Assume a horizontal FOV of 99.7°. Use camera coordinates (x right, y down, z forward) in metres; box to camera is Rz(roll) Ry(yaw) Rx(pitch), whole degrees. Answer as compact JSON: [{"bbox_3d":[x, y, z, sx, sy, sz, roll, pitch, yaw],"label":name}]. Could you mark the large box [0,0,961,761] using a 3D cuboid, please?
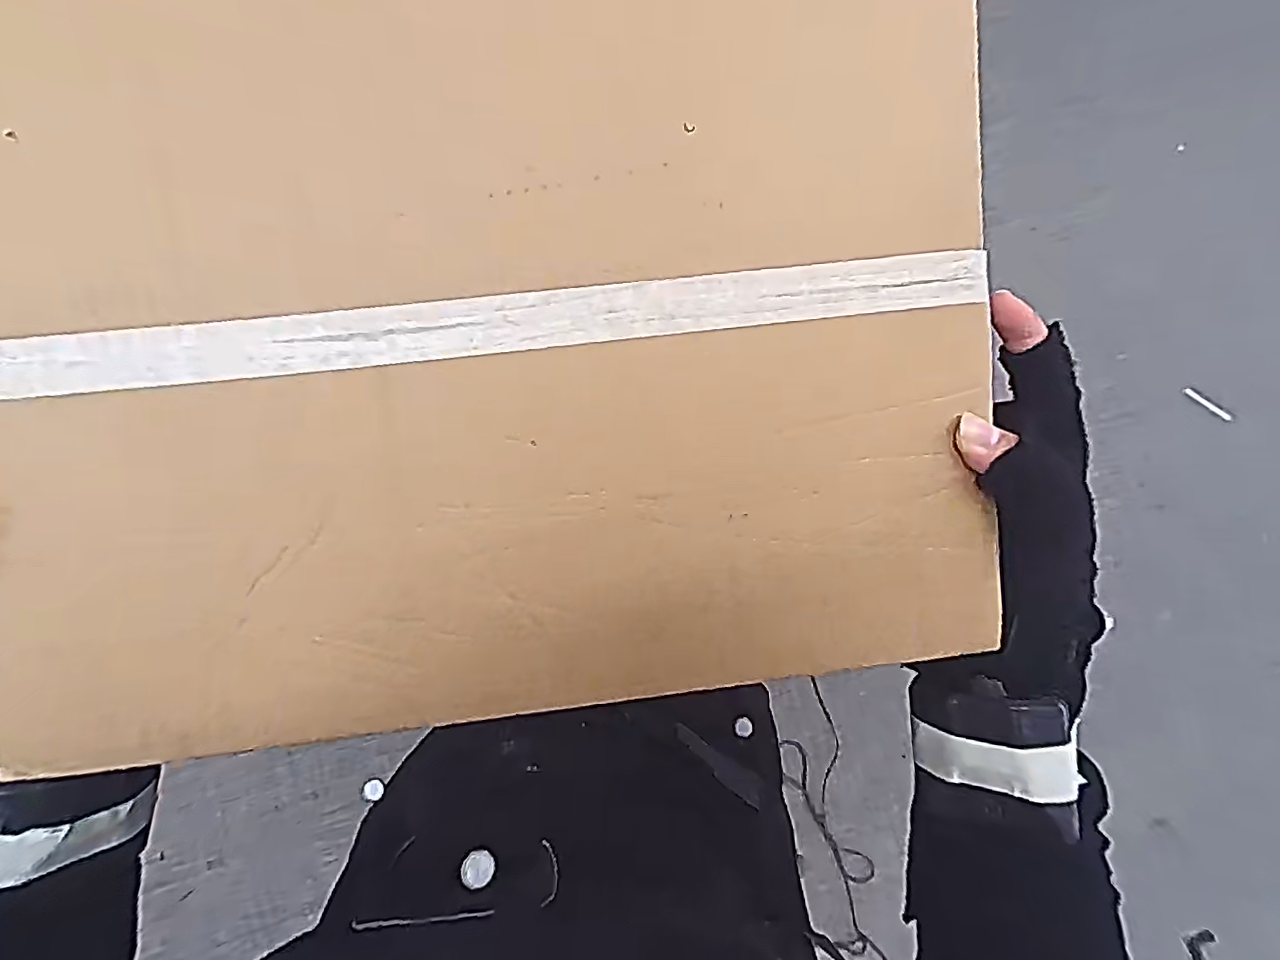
[{"bbox_3d":[-0.073,-0.071,0.368,0.408,0.320,0.320,-6,95,-3],"label":"large box"}]
